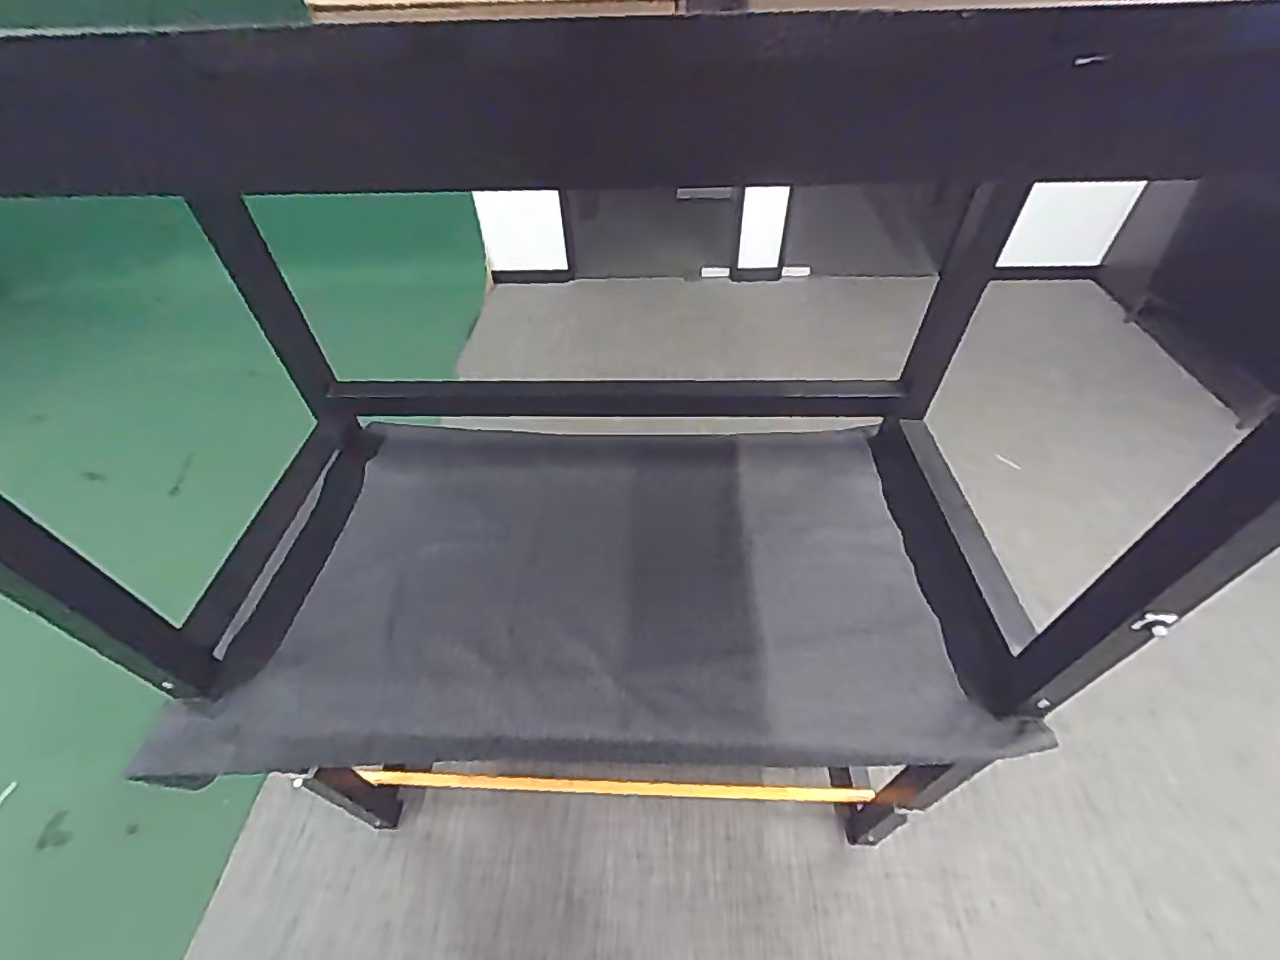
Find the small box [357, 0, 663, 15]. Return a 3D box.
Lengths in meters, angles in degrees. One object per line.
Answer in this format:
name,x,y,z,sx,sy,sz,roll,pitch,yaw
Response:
small box,-0.063,-0.328,0.240,0.168,0.176,0.179,0,46,2
